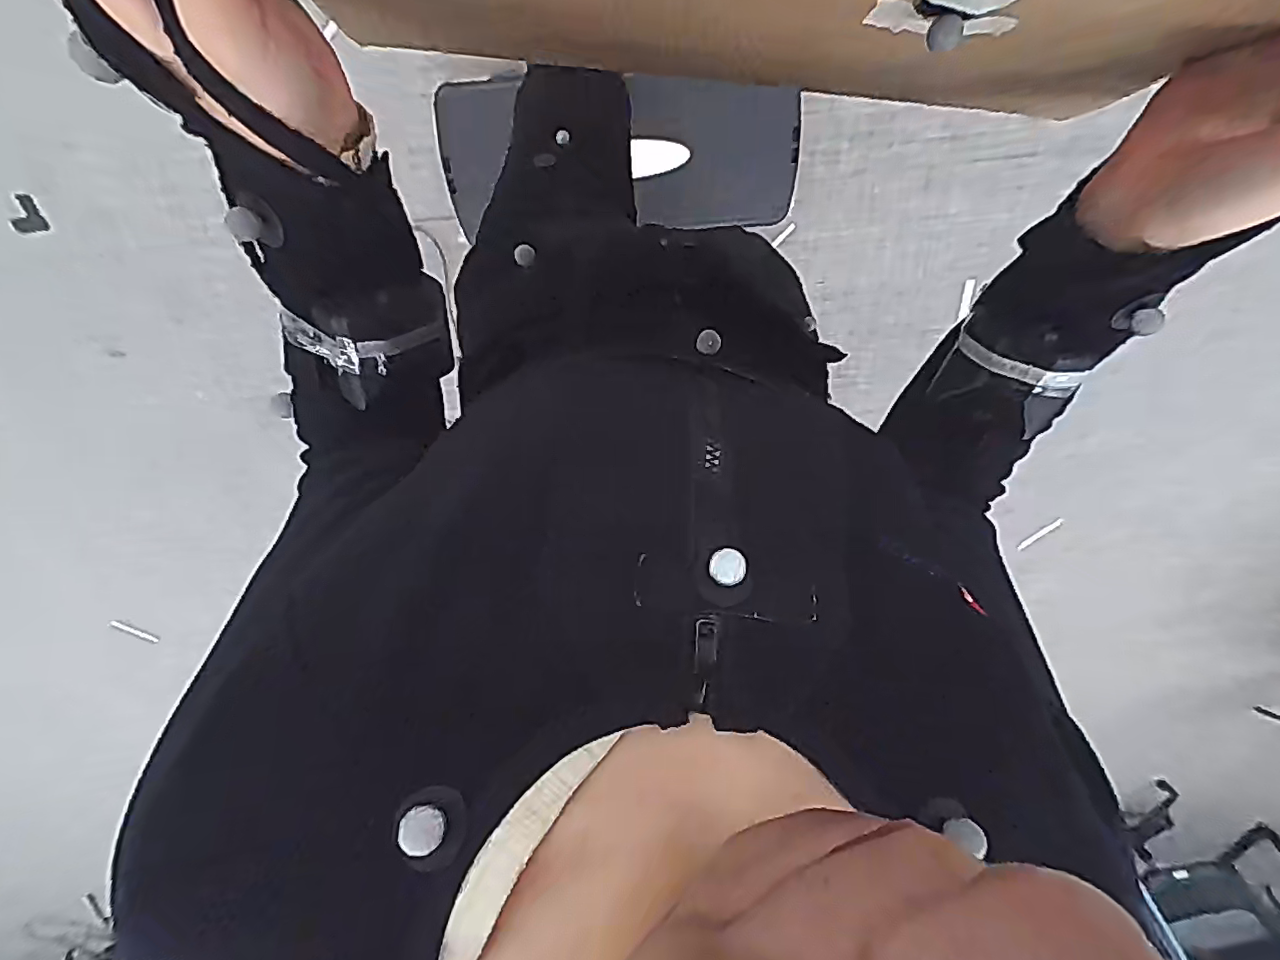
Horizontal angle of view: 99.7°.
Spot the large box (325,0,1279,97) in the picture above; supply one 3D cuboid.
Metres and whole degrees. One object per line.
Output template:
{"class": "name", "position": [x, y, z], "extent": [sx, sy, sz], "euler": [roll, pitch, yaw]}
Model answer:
{"class": "large box", "position": [0.060, -0.331, 0.116], "extent": [0.408, 0.320, 0.320], "euler": [2, 109, -4]}
